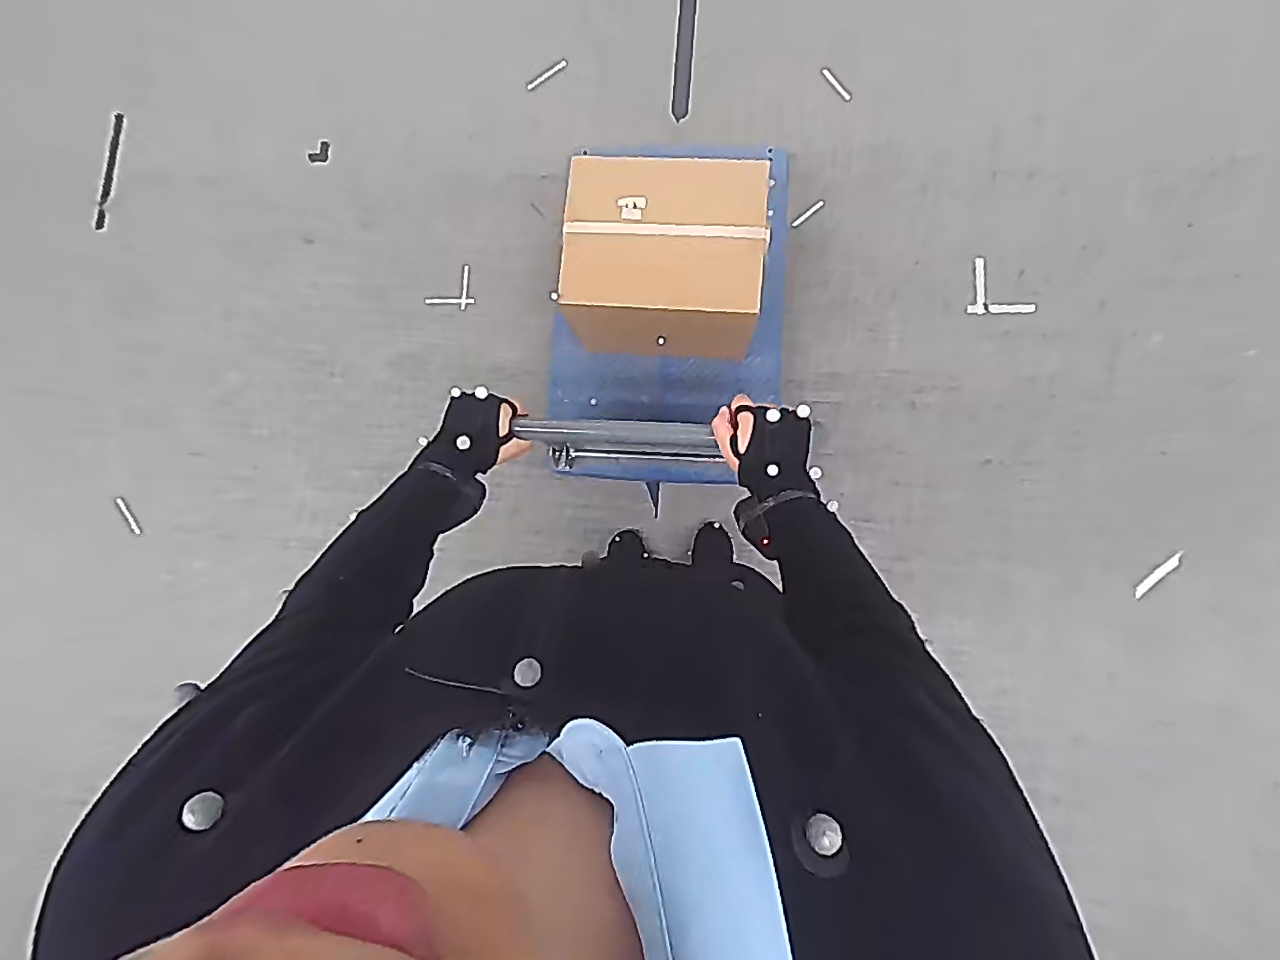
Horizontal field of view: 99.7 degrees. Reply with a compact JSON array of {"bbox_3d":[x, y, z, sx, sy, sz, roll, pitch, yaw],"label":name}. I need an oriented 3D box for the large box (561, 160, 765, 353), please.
[{"bbox_3d":[0.062,-0.488,1.236,0.408,0.320,0.320,4,85,6],"label":"large box"}]
